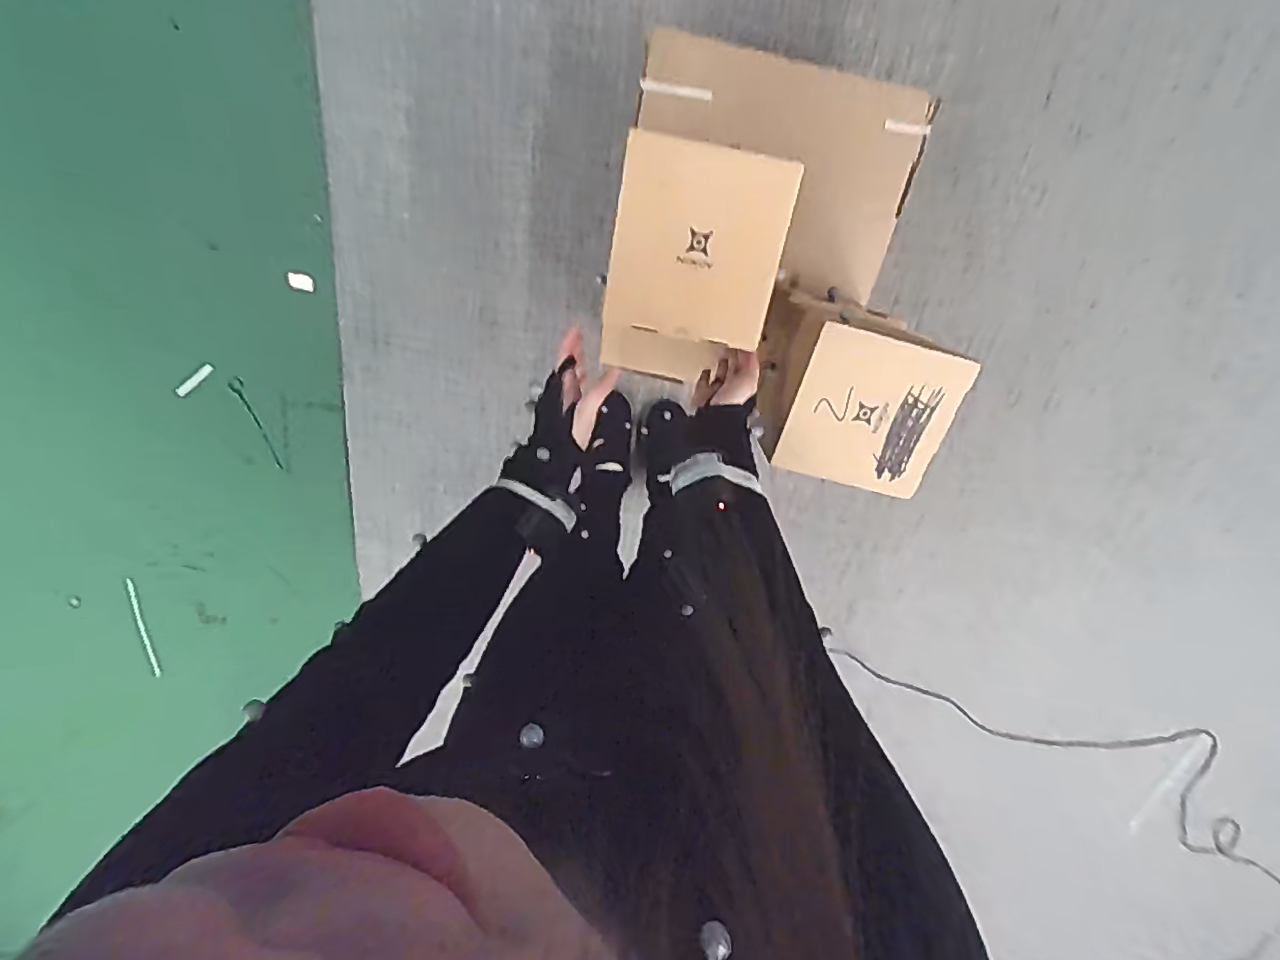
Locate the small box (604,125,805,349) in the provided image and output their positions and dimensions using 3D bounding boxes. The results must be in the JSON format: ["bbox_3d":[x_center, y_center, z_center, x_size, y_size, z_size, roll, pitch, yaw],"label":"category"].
[{"bbox_3d":[0.059,-0.260,0.597,0.168,0.176,0.179,11,114,-3],"label":"small box"}]

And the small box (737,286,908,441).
[{"bbox_3d":[0.252,-0.180,0.800,0.168,0.176,0.179,13,112,-4],"label":"small box"}]
